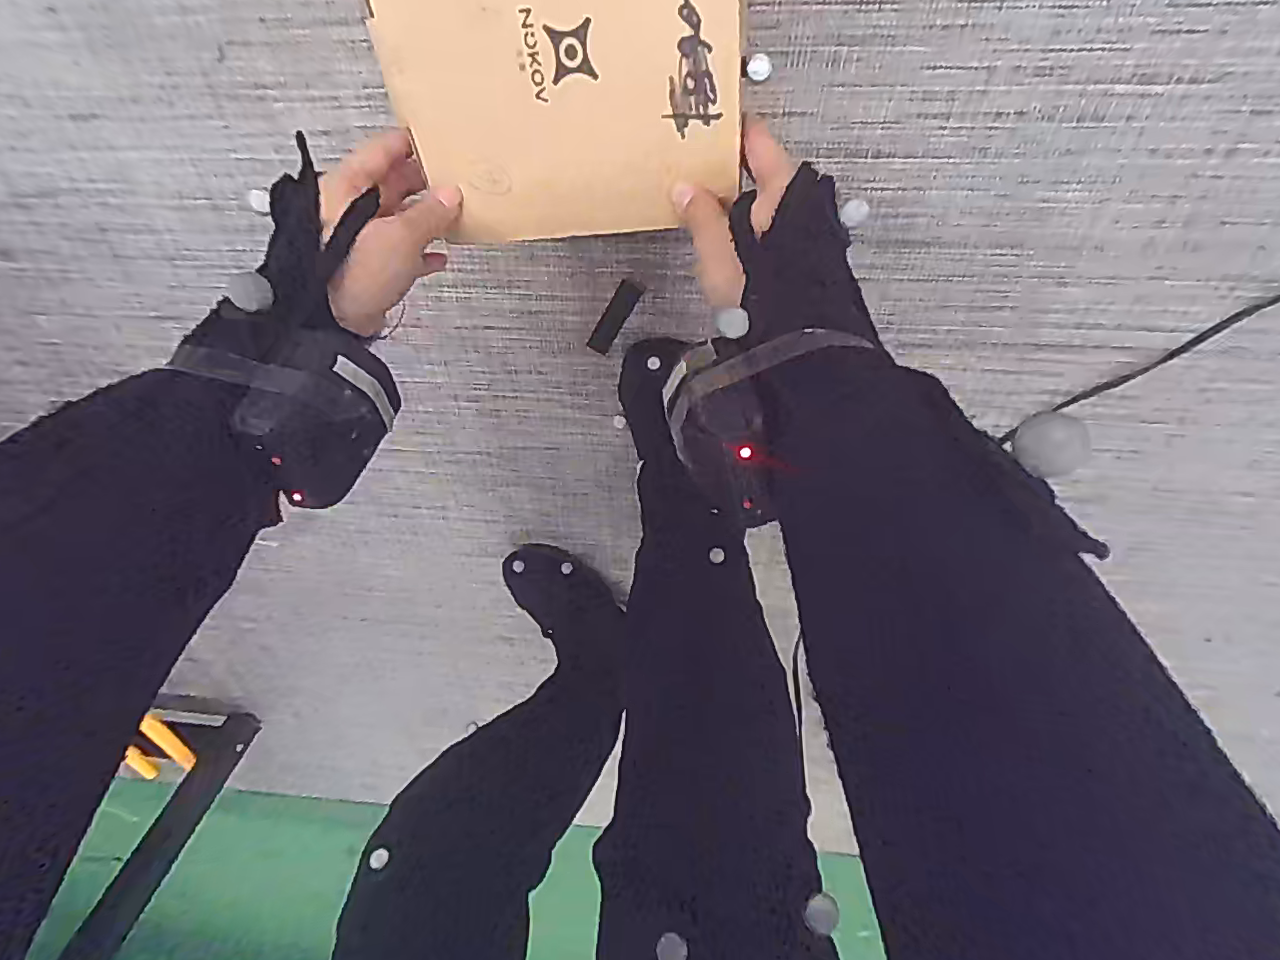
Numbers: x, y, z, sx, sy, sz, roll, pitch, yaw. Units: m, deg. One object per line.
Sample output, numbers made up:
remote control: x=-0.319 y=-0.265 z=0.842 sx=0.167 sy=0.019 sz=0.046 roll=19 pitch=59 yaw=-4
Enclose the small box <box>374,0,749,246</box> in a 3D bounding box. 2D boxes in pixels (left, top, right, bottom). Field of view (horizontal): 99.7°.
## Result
small box: x=-0.026 y=-0.253 z=0.324 sx=0.179 sy=0.176 sz=0.168 roll=1 pitch=129 yaw=11
